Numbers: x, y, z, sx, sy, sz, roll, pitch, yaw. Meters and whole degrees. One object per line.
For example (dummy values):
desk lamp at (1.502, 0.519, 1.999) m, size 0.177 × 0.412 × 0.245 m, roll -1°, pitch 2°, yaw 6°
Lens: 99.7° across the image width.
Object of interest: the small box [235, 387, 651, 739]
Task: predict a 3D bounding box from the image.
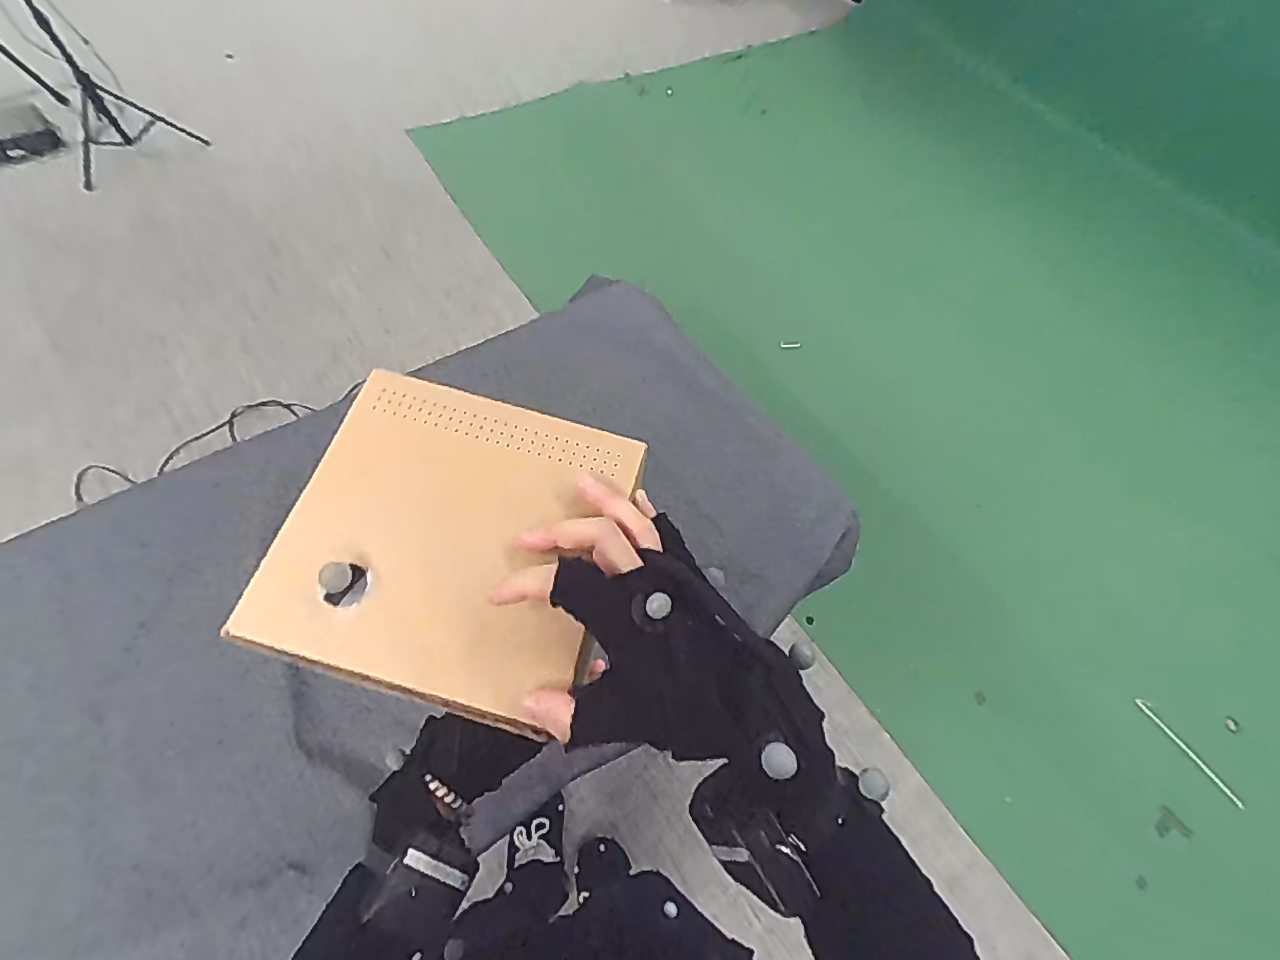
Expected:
small box at (-0.103, 0.059, 0.366) m, size 0.179 × 0.168 × 0.176 m, roll 15°, pitch 67°, yaw 2°
